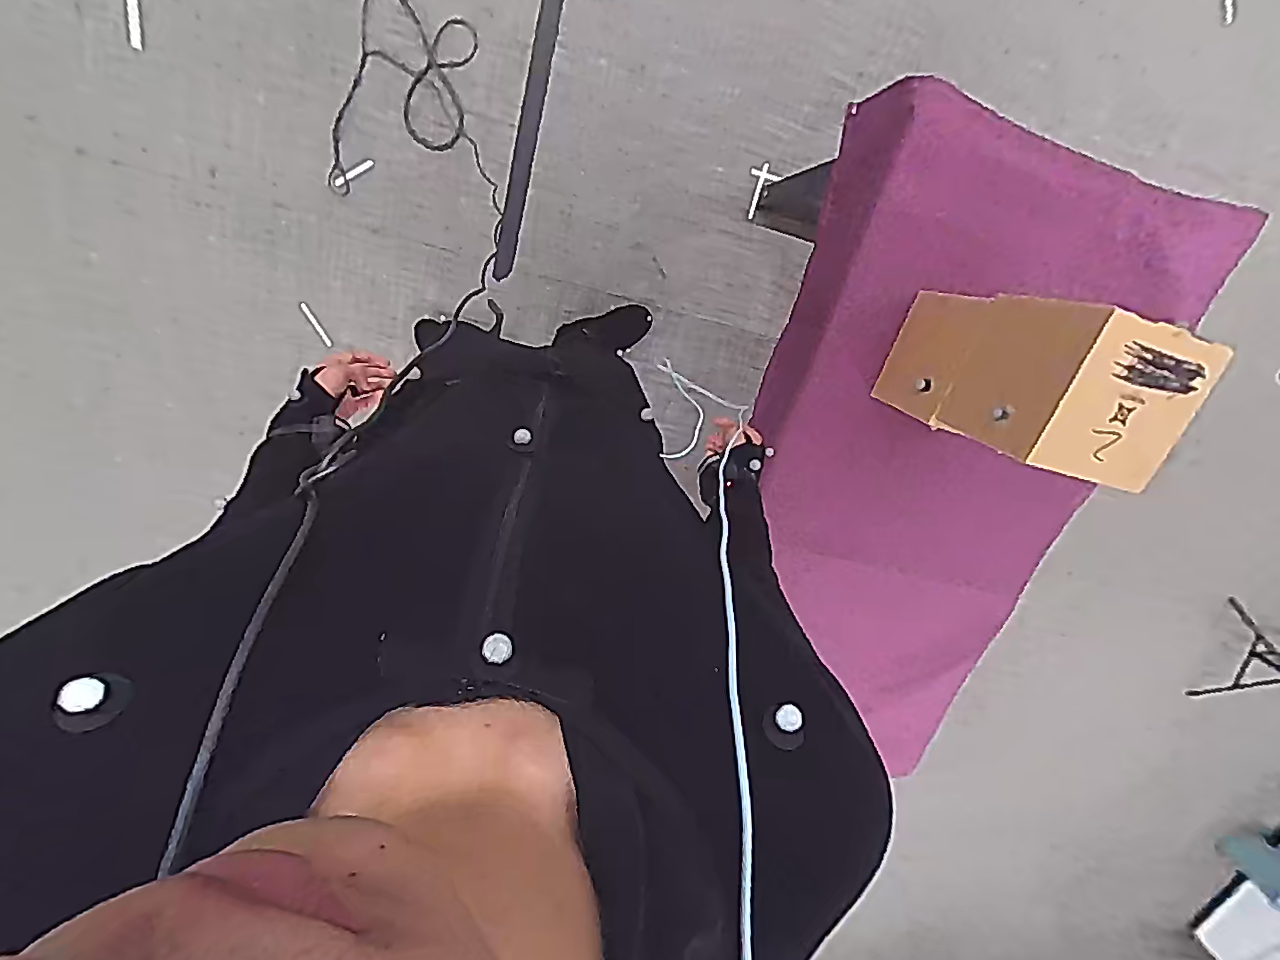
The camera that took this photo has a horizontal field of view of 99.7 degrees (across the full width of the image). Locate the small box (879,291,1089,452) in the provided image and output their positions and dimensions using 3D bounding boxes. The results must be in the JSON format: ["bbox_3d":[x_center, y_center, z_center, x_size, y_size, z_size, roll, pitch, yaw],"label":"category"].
[{"bbox_3d":[0.492,-0.167,0.808,0.168,0.176,0.179,14,111,-12],"label":"small box"}]
